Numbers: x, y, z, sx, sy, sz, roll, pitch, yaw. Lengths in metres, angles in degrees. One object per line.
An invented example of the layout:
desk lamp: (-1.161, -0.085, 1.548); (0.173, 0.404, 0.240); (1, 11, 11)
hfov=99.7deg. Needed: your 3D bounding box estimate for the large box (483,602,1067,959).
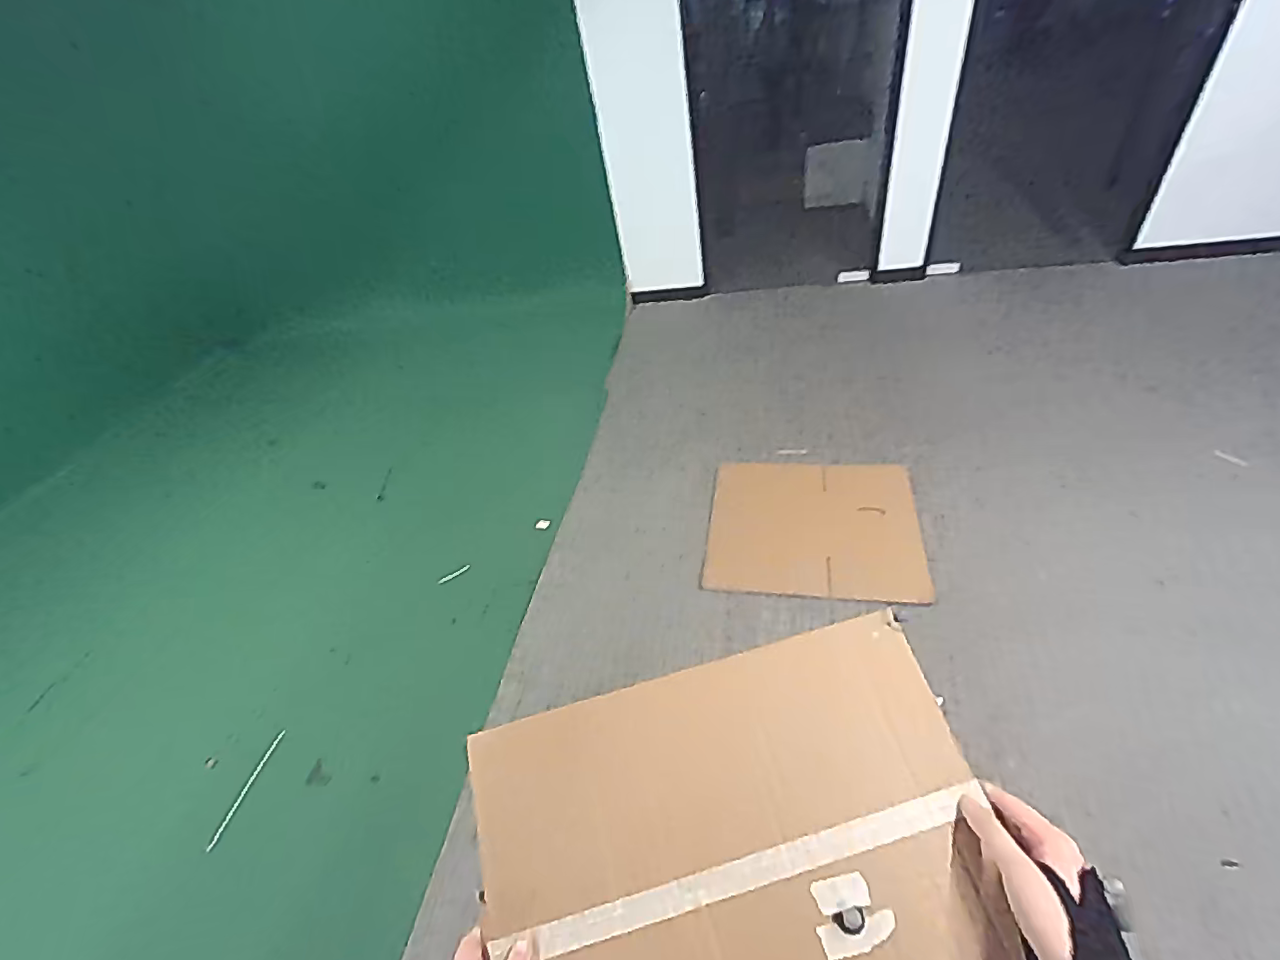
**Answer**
large box: (0.094, 0.365, 0.566); (0.408, 0.320, 0.320); (-15, 64, -4)
